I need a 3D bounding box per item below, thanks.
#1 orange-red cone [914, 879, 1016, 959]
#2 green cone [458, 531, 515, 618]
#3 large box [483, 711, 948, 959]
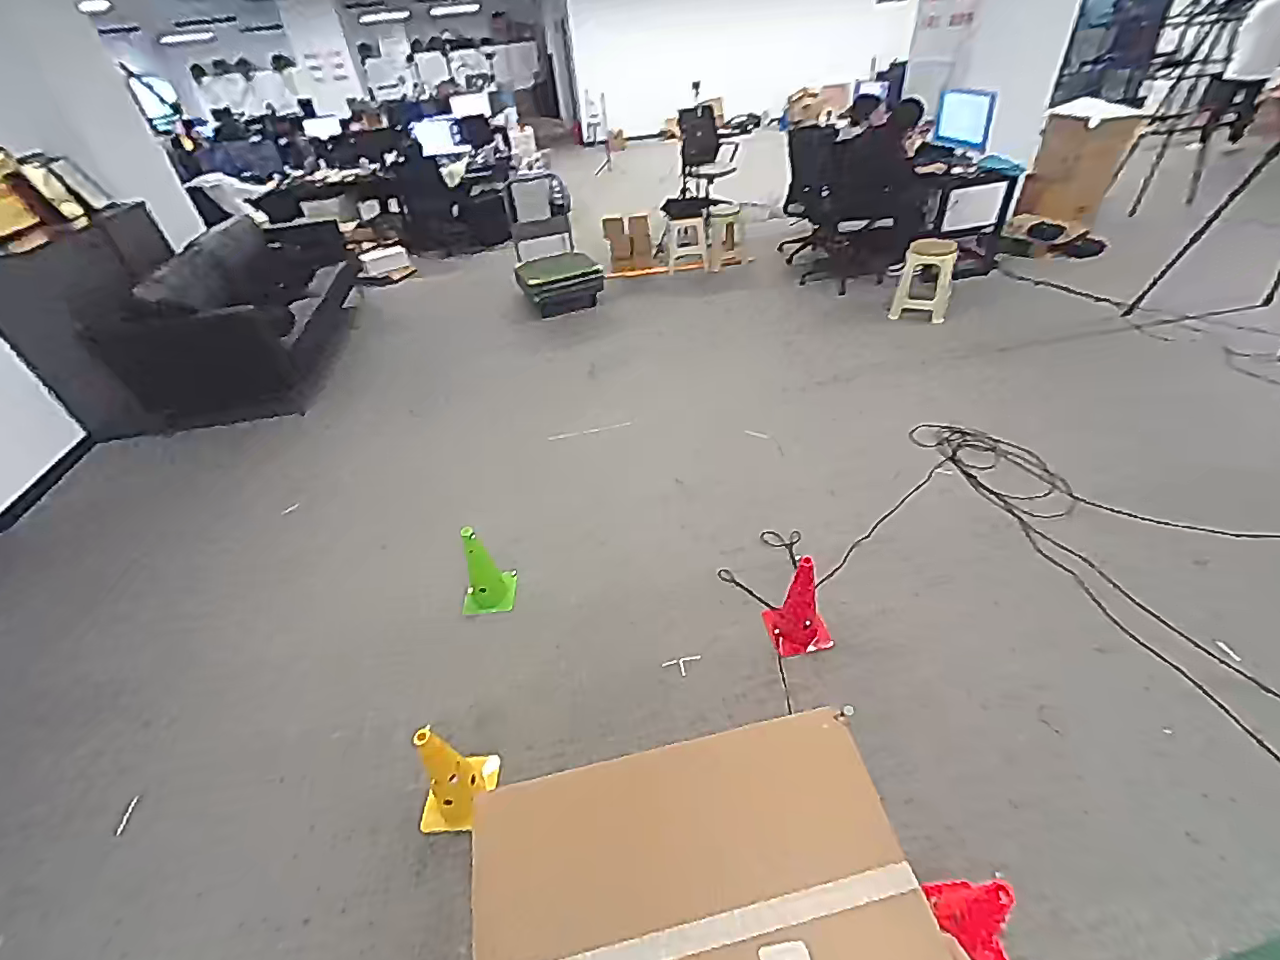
[{"bbox_3d":[0.713,0.922,1.147,0.199,0.360,0.198,-5,40,-1],"label":"orange-red cone"},{"bbox_3d":[-0.624,0.331,2.059,0.200,0.368,0.202,-7,40,-1],"label":"green cone"},{"bbox_3d":[0.069,0.507,0.601,0.408,0.320,0.320,-12,51,-5],"label":"large box"}]
